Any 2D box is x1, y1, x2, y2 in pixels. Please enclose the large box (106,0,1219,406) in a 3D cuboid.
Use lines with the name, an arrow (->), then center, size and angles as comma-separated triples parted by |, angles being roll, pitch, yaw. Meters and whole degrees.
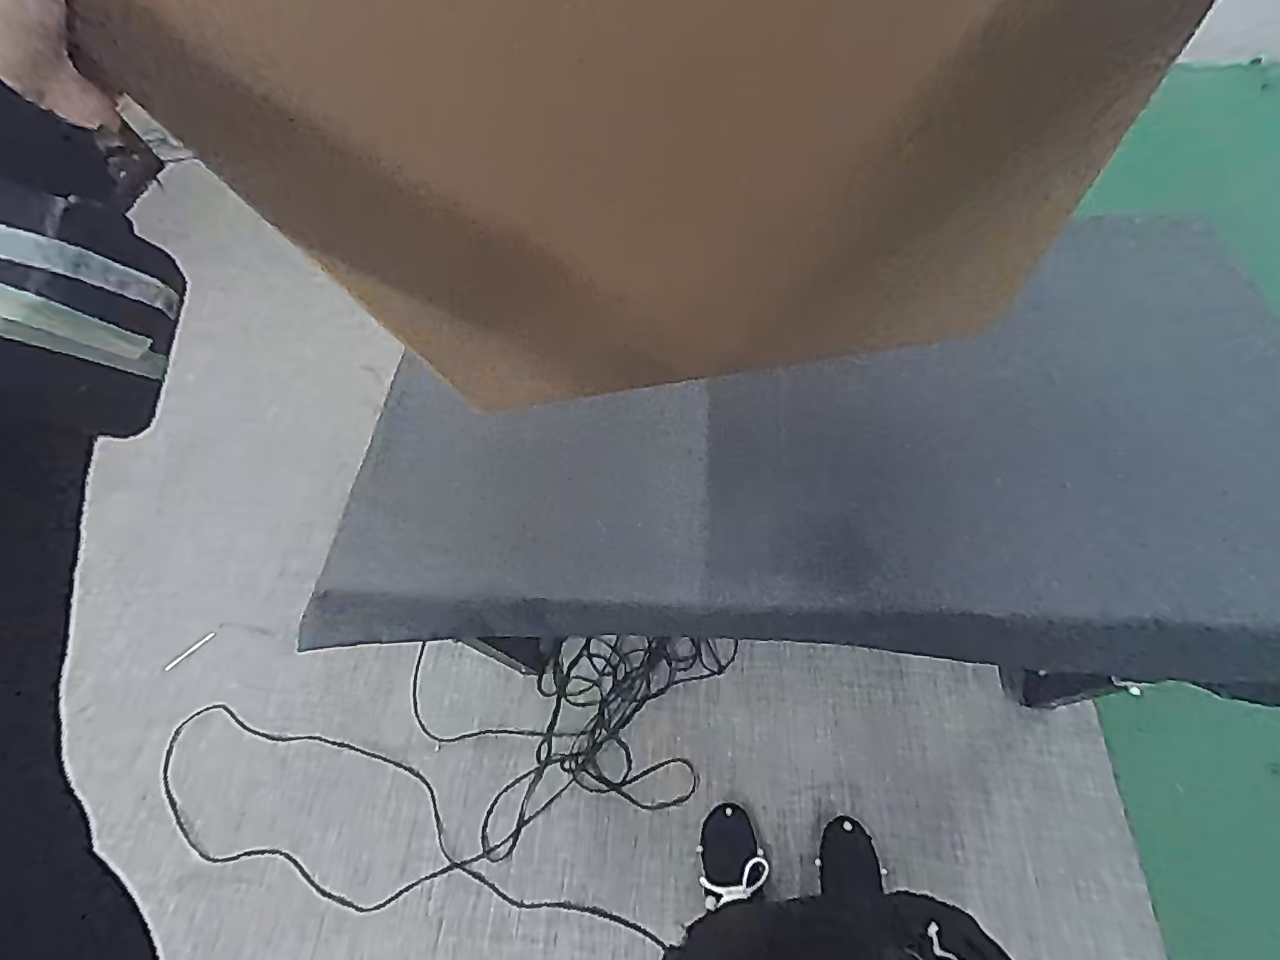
large box -> 0.027, -0.275, 0.336 | 0.408, 0.320, 0.320 | -7, 70, 9
